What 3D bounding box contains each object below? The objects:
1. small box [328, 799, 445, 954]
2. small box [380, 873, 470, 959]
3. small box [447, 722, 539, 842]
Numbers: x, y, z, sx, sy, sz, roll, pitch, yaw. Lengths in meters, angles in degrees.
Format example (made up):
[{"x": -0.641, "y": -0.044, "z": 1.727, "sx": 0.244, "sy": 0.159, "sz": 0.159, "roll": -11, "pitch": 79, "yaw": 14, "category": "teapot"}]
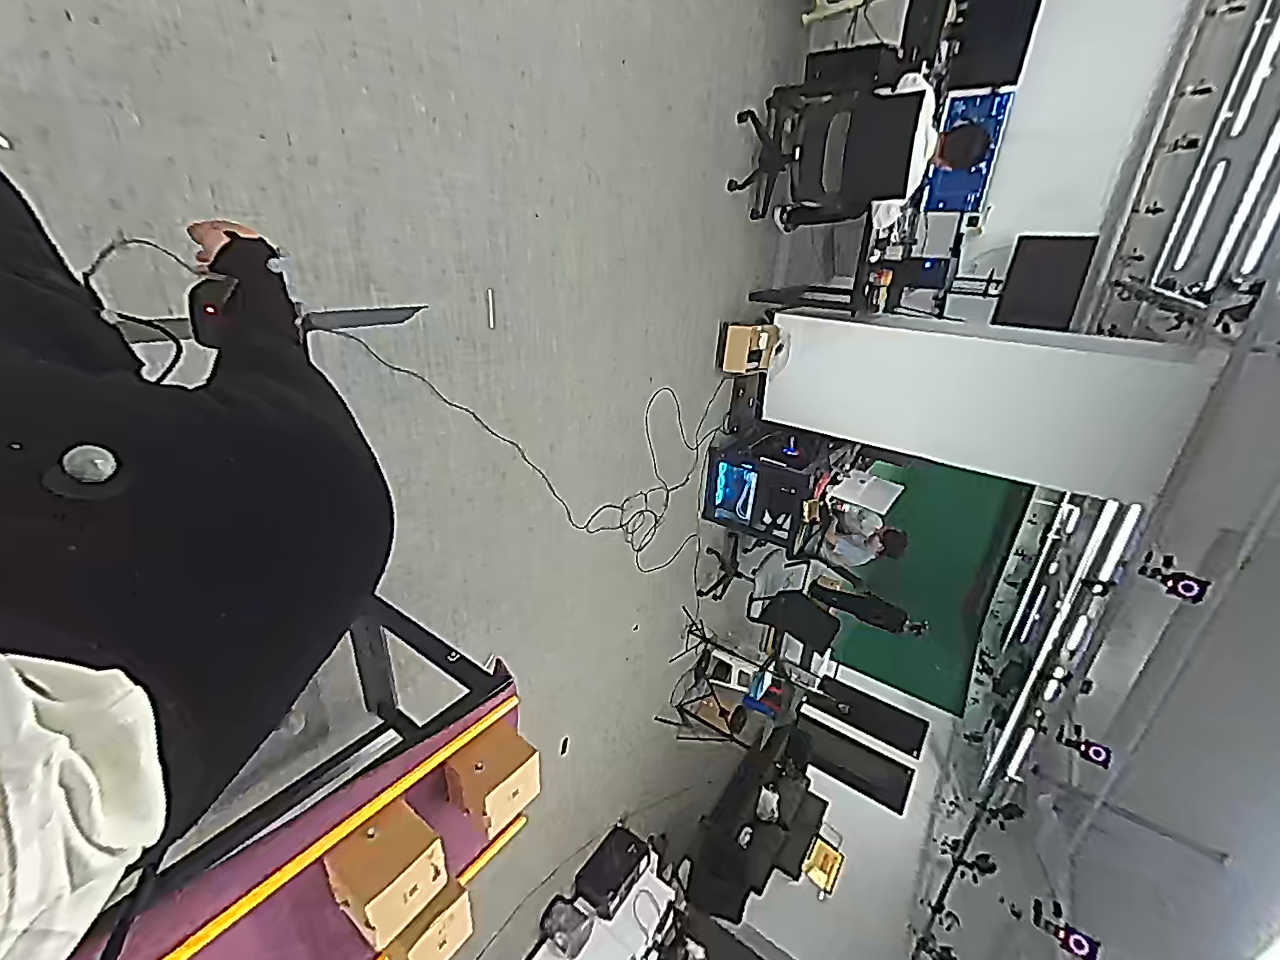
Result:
[{"x": -0.563, "y": 0.865, "z": 1.196, "sx": 0.179, "sy": 0.176, "sz": 0.168, "roll": -27, "pitch": 128, "yaw": -48, "category": "small box"}, {"x": -0.546, "y": 1.094, "z": 1.341, "sx": 0.168, "sy": 0.176, "sz": 0.179, "roll": -26, "pitch": 125, "yaw": -50, "category": "small box"}, {"x": -0.389, "y": 0.783, "z": 1.420, "sx": 0.179, "sy": 0.176, "sz": 0.168, "roll": -25, "pitch": 127, "yaw": -47, "category": "small box"}]
